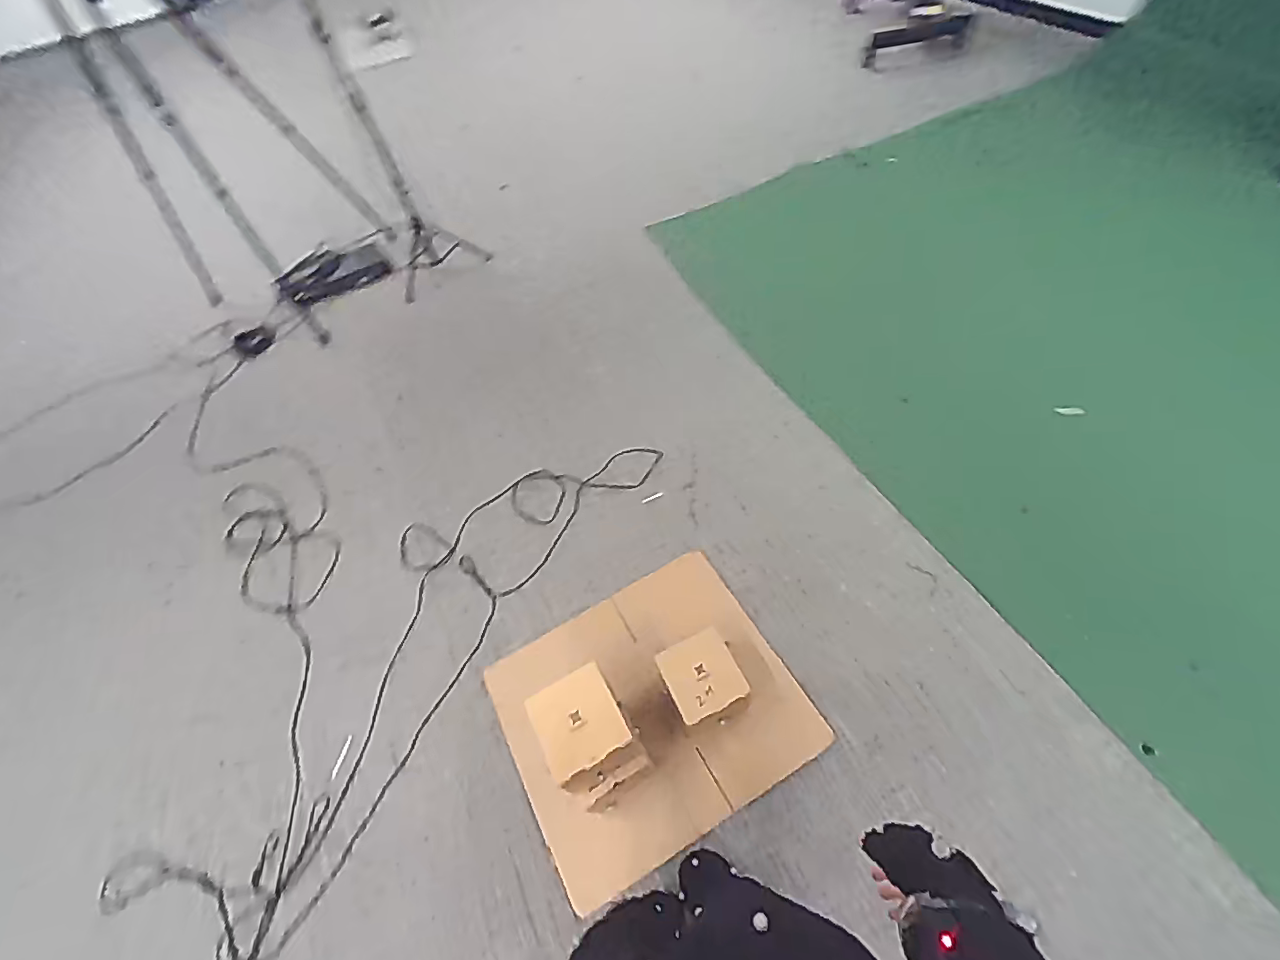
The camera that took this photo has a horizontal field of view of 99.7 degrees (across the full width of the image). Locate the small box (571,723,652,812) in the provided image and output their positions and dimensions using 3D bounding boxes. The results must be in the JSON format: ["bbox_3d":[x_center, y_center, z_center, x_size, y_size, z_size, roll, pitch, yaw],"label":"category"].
[{"bbox_3d":[-0.087,0.629,1.240,0.168,0.176,0.179,-31,57,-12],"label":"small box"}]

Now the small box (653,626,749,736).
[{"bbox_3d":[0.145,0.488,1.305,0.168,0.176,0.179,-26,57,-8],"label":"small box"}]

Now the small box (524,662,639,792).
[{"bbox_3d":[-0.117,0.517,1.123,0.168,0.176,0.179,-28,57,-11],"label":"small box"}]
